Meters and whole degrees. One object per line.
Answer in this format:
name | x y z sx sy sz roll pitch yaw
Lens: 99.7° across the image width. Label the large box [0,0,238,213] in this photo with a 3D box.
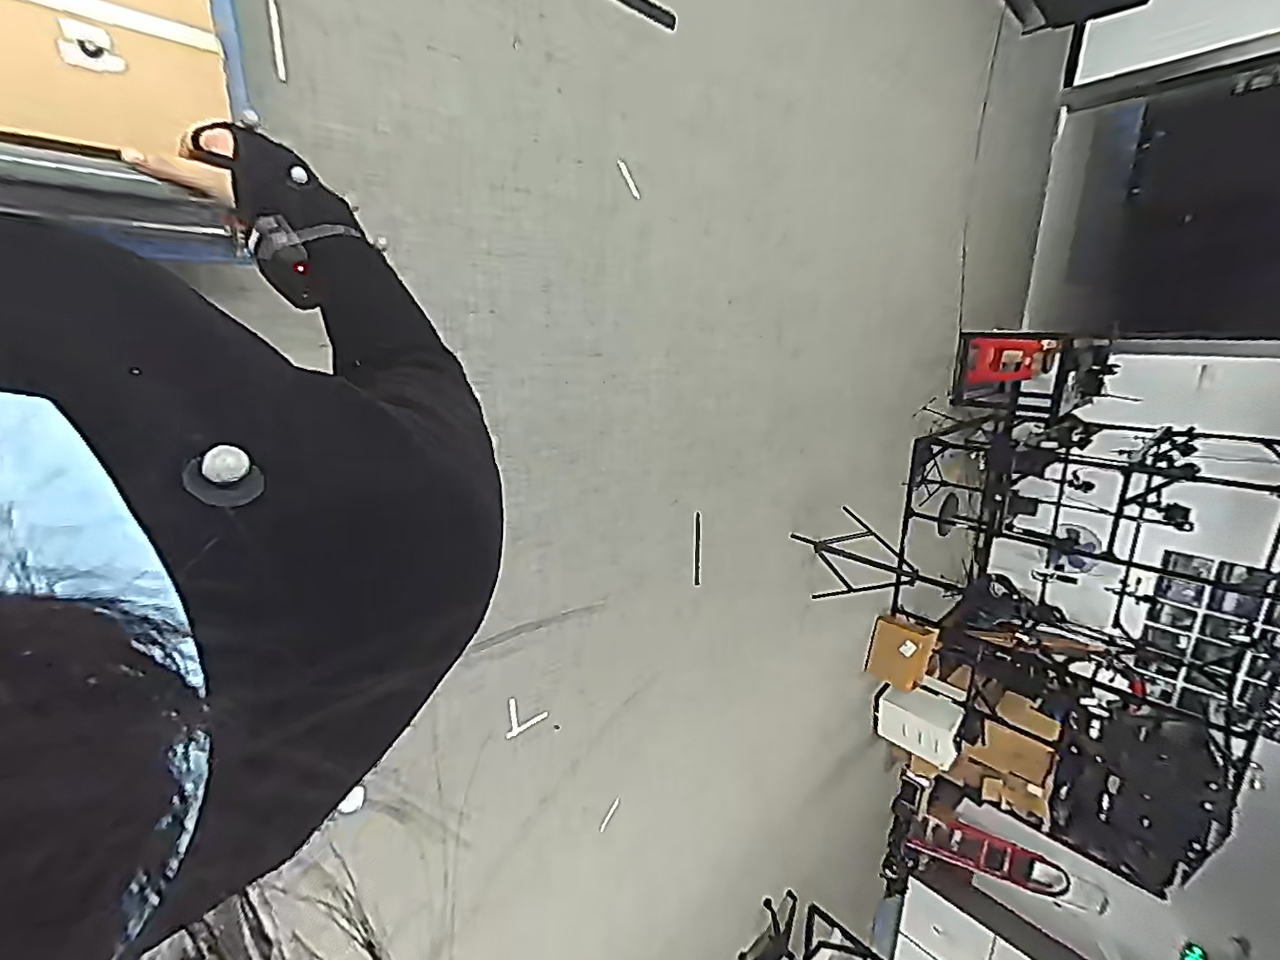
large box | -0.830 -0.570 0.714 0.408 0.320 0.320 -14 111 -43
